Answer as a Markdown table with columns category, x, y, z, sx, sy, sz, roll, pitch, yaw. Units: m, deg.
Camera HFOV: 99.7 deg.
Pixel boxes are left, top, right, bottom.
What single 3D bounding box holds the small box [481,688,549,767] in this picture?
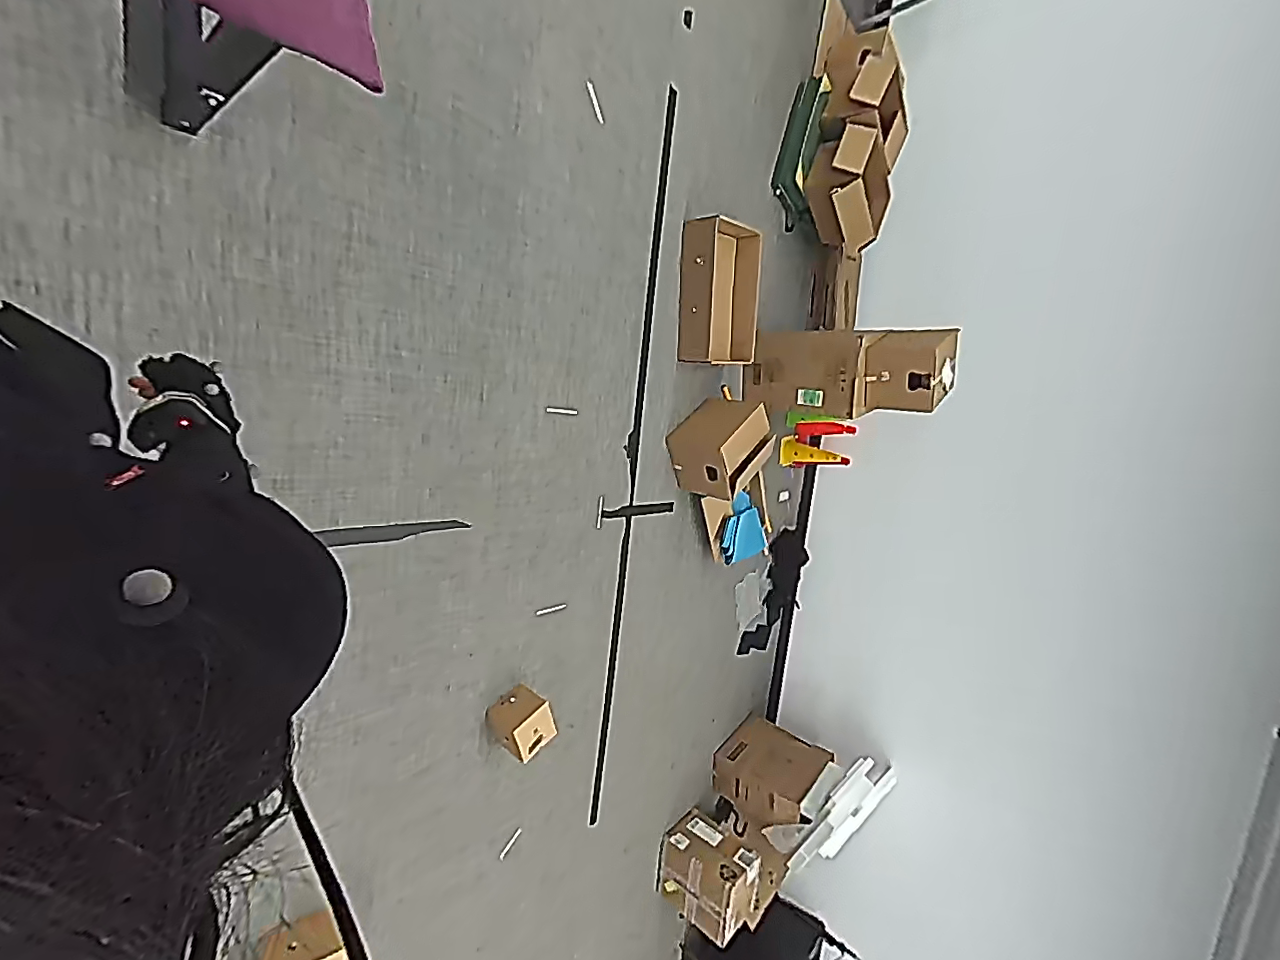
| category | x | y | z | sx | sy | sz | roll | pitch | yaw |
| --- | --- | --- | --- | --- | --- | --- | --- | --- | --- |
| small box | -0.473 | 0.926 | 2.040 | 0.168 | 0.176 | 0.179 | -33 | 123 | -42 |

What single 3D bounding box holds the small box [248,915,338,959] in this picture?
| category | x | y | z | sx | sy | sz | roll | pitch | yaw |
| --- | --- | --- | --- | --- | --- | --- | --- | --- | --- |
| small box | -1.000 | 1.399 | 1.530 | 0.179 | 0.176 | 0.168 | 18 | 88 | -53 |
